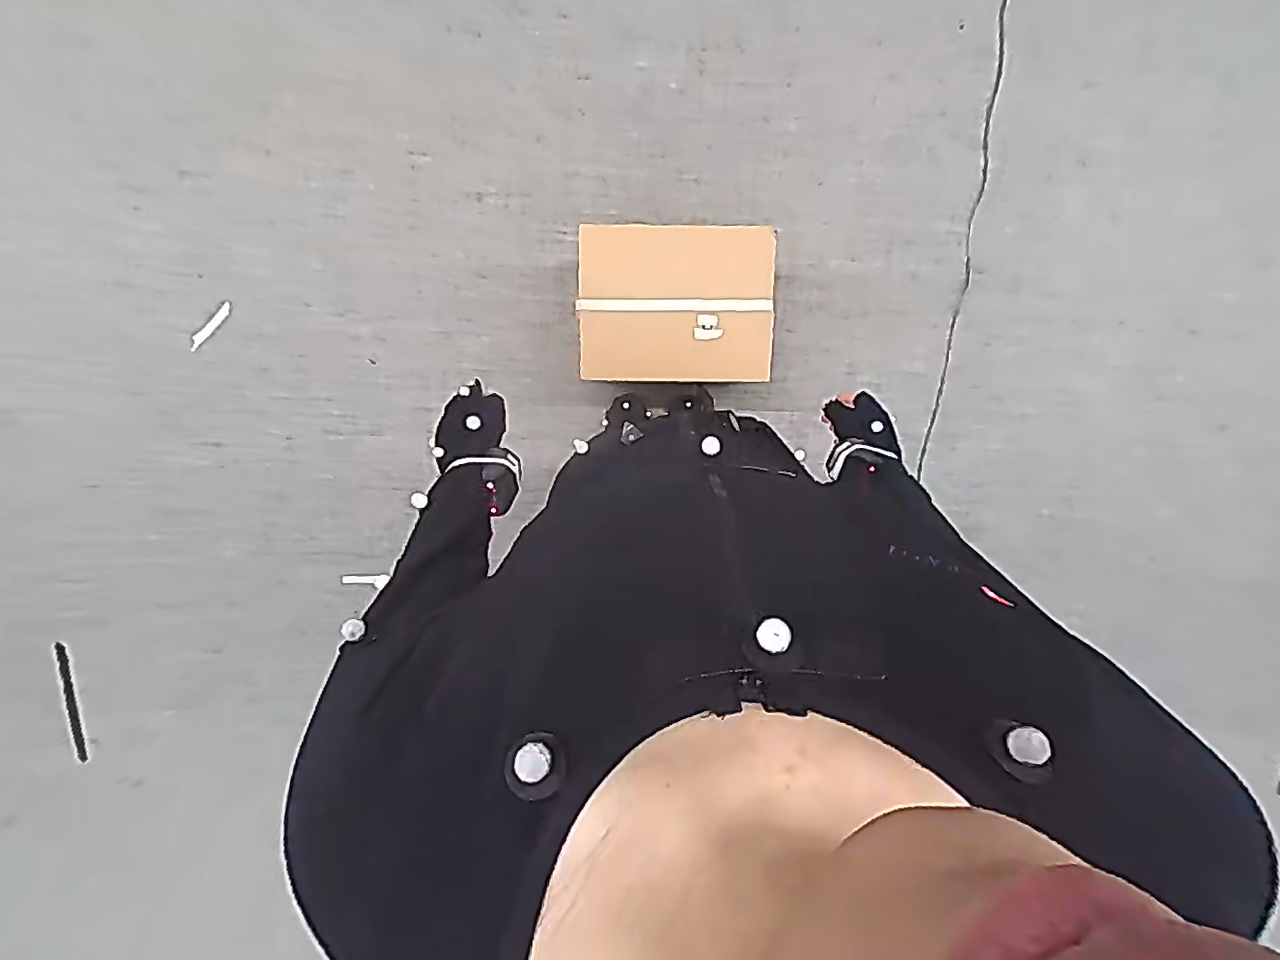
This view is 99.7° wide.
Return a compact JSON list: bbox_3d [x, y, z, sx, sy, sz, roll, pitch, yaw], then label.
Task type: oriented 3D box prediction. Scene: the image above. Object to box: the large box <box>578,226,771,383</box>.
[{"bbox_3d":[0.070,-0.392,1.280,0.408,0.320,0.320,0,101,-1],"label":"large box"}]
